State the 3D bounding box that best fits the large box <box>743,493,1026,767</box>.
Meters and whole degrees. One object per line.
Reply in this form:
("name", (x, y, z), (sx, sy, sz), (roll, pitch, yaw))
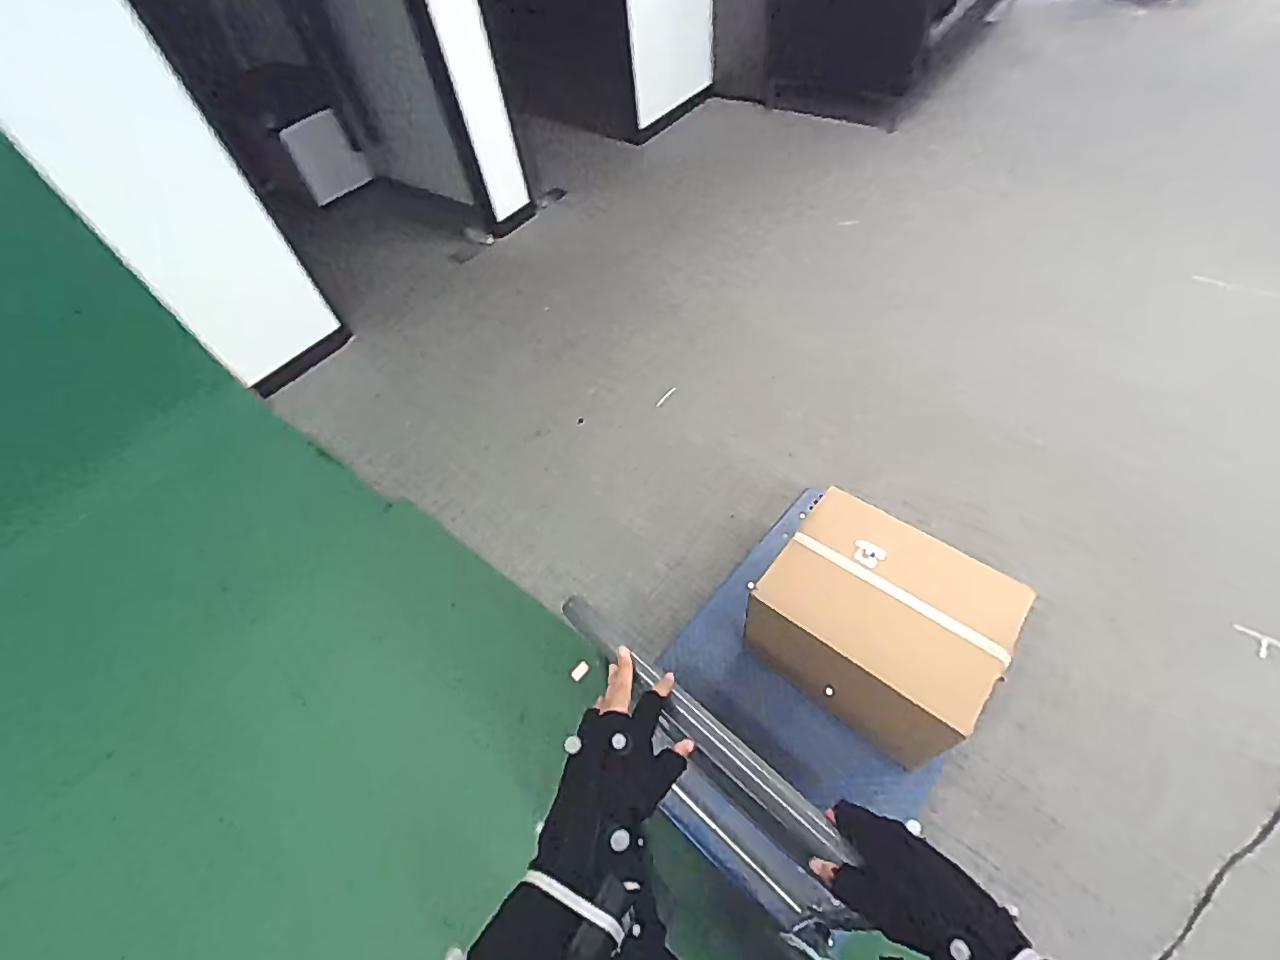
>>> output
("large box", (0.464, 0.302, 1.110), (0.408, 0.320, 0.320), (32, 63, 28))
